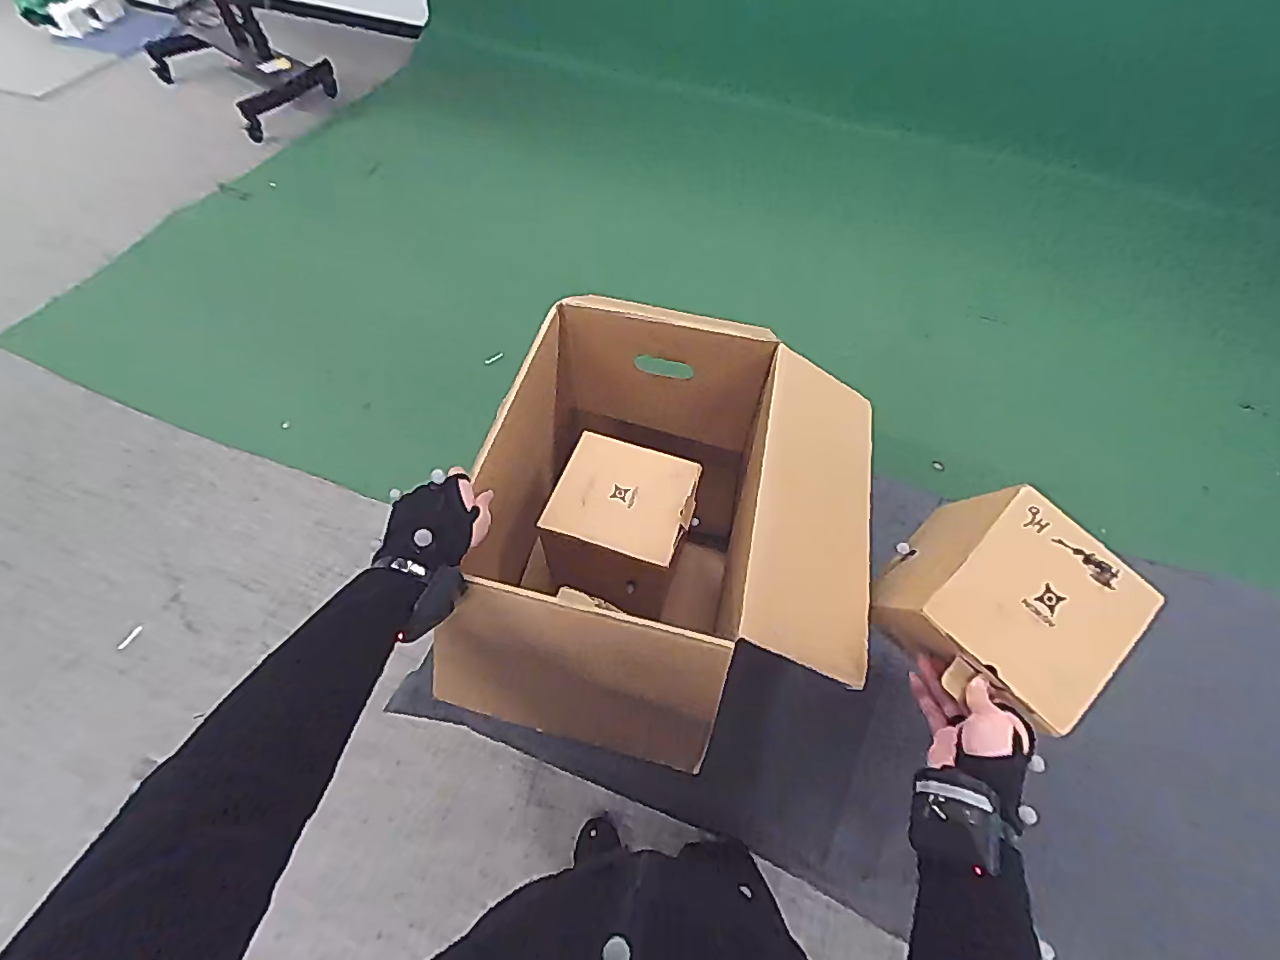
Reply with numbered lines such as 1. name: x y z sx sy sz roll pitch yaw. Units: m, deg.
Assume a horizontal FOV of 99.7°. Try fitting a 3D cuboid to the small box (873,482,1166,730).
1. small box: 0.387 0.131 0.595 0.168 0.176 0.179 43 83 8
